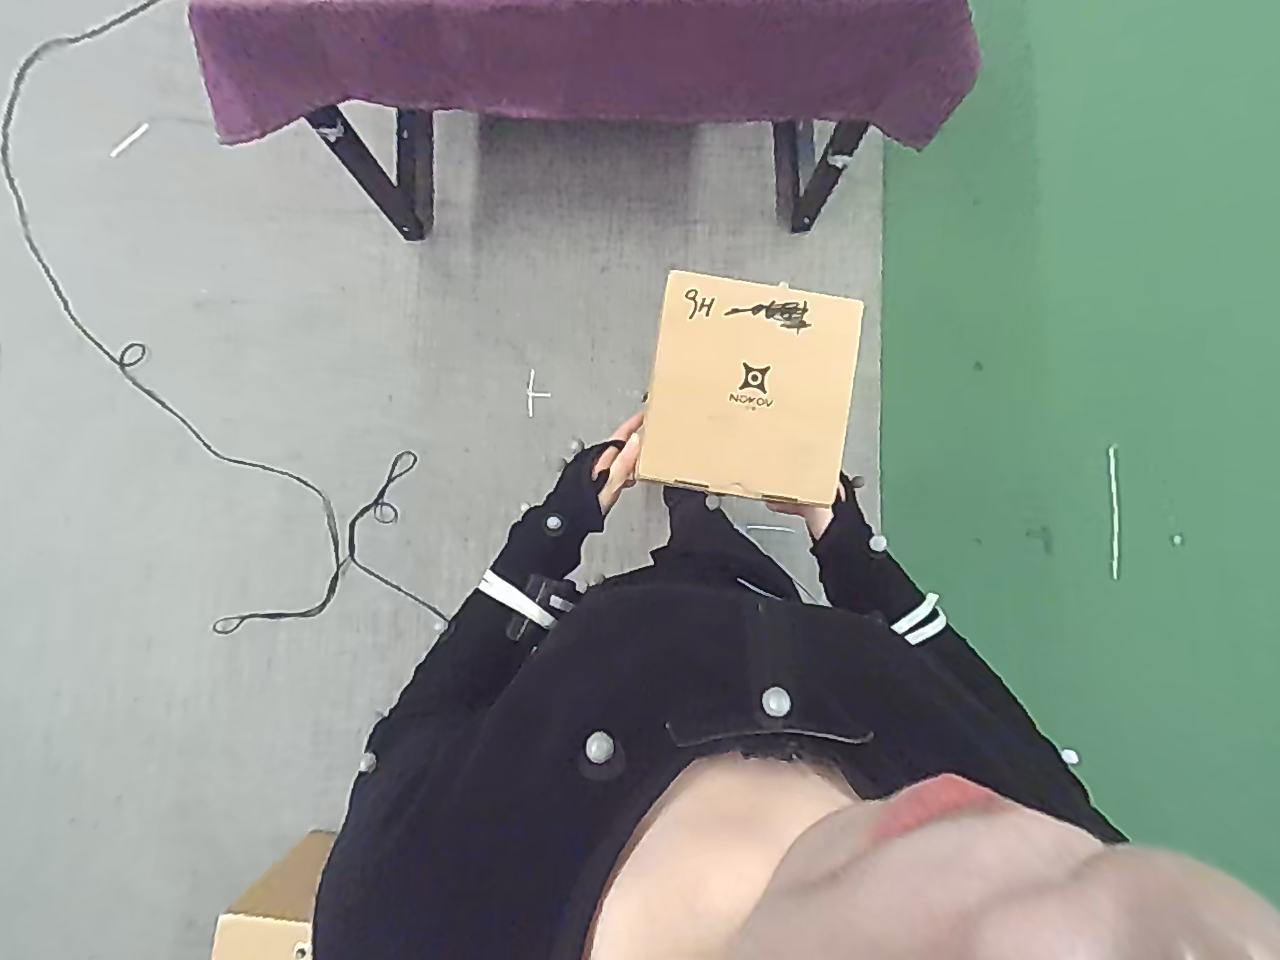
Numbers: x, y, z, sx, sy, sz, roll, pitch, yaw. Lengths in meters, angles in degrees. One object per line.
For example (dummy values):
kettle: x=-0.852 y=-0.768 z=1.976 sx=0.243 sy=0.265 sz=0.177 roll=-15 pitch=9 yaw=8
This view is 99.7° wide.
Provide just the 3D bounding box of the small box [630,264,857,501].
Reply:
small box: x=0.085 y=-0.081 z=0.526 sx=0.168 sy=0.176 sz=0.179 roll=9 pitch=90 yaw=-2
